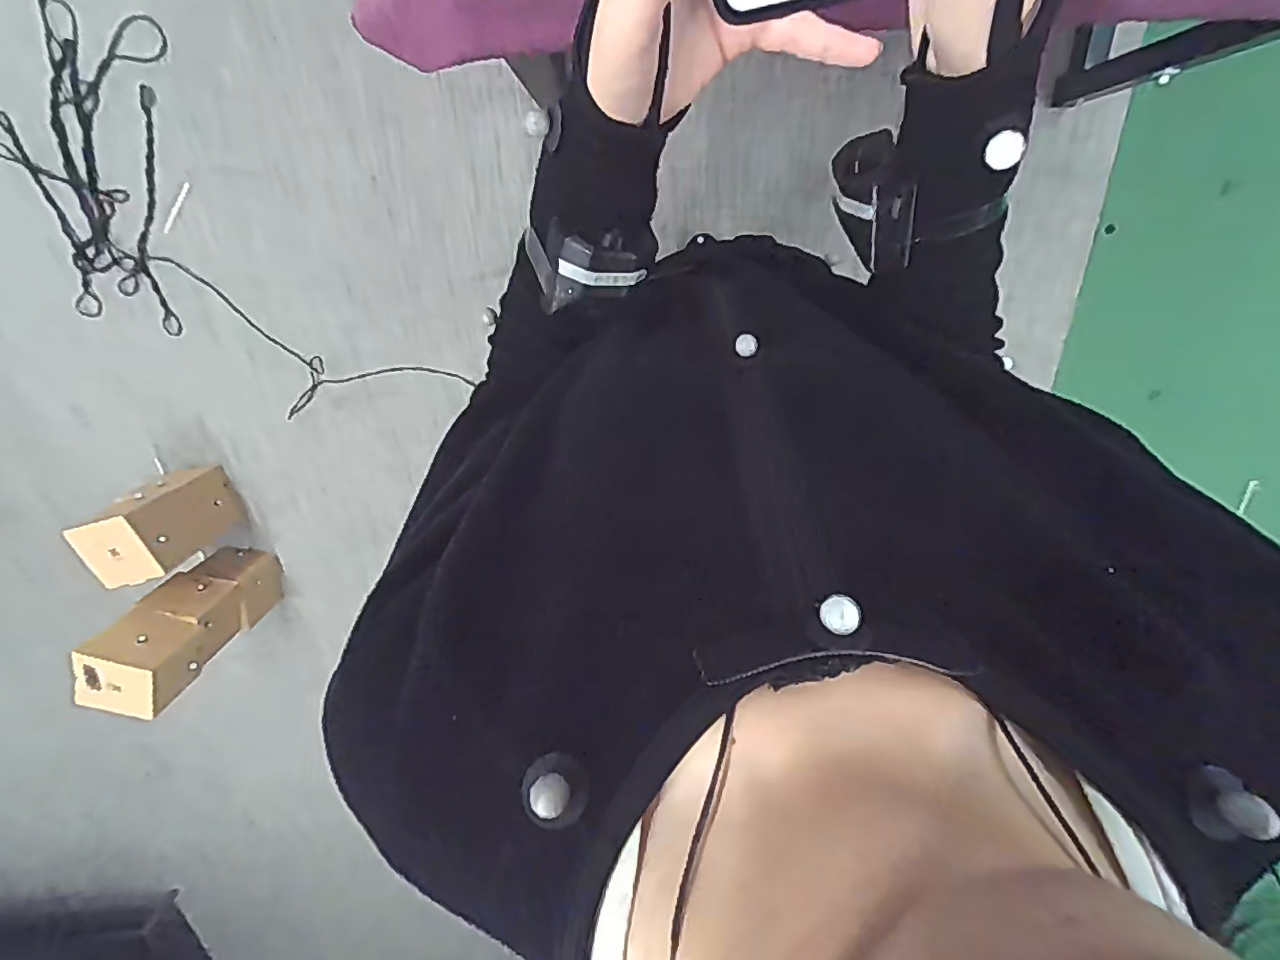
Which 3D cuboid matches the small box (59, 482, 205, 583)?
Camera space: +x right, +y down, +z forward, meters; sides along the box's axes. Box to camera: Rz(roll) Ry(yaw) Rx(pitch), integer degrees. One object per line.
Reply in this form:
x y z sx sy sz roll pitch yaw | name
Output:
-1.262 0.129 1.363 0.168 0.176 0.179 -13 114 5 | small box

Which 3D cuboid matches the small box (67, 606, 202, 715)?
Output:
-1.226 0.433 1.321 0.179 0.176 0.168 18 112 -8 | small box

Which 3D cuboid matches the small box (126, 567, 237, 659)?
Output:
-1.234 0.366 1.471 0.168 0.176 0.179 14 112 -5 | small box

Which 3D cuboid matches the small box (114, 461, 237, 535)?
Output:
-1.275 0.057 1.509 0.179 0.176 0.168 -9 114 4 | small box
